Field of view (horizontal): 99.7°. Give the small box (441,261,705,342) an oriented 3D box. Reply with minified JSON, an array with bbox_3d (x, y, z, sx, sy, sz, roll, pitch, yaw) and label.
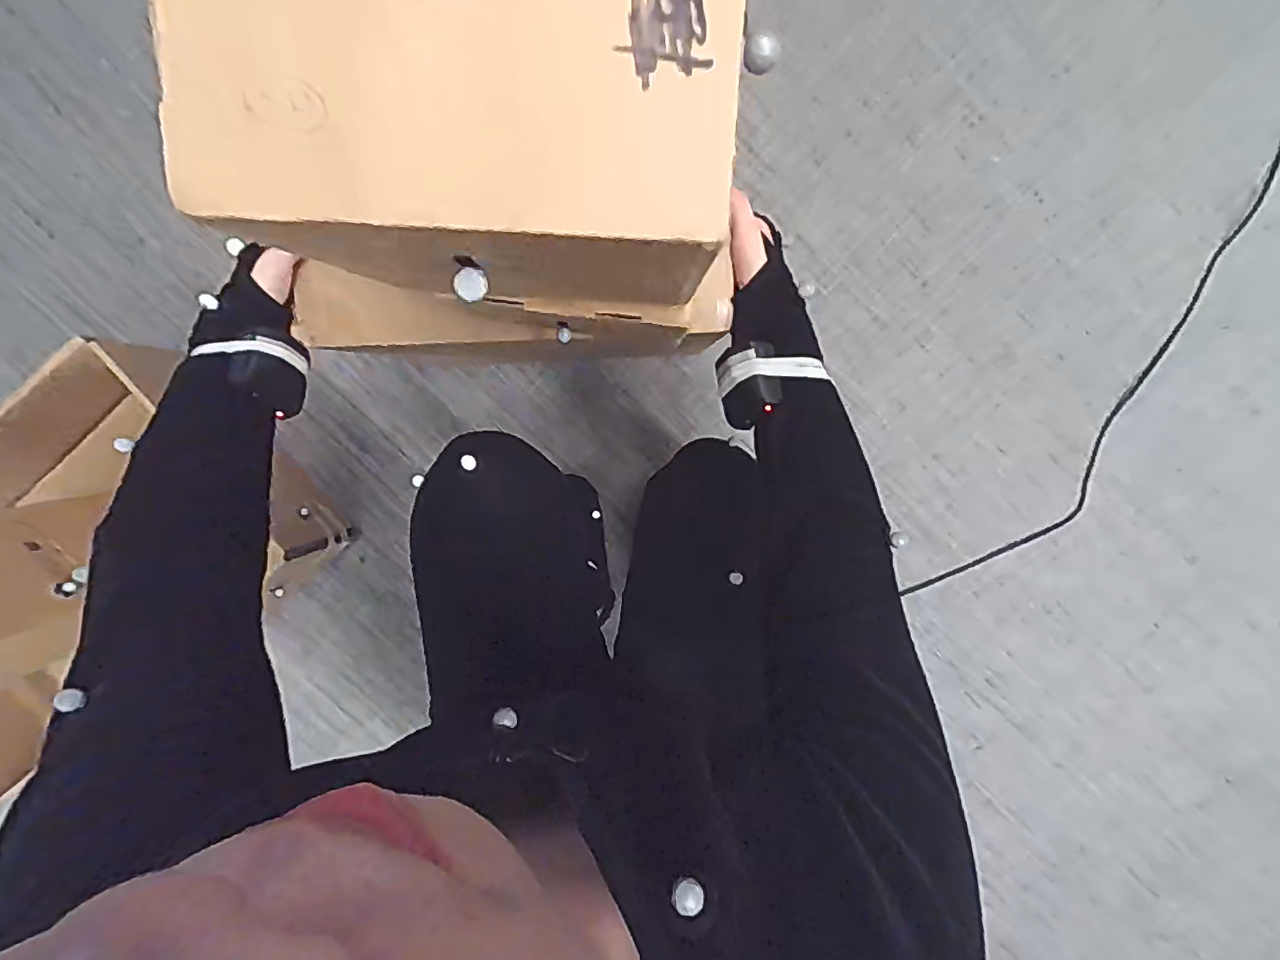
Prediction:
[{"bbox_3d":[-0.035,-0.203,0.394,0.168,0.176,0.179,8,102,-1],"label":"small box"}]

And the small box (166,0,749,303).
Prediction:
[{"bbox_3d":[-0.050,-0.174,0.232,0.179,0.176,0.168,4,102,1],"label":"small box"}]

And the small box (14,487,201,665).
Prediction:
[{"bbox_3d":[-0.823,0.132,0.804,0.179,0.176,0.168,-39,96,5],"label":"small box"}]

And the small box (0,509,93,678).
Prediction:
[{"bbox_3d":[-0.826,0.155,0.642,0.179,0.176,0.168,-38,95,6],"label":"small box"}]
